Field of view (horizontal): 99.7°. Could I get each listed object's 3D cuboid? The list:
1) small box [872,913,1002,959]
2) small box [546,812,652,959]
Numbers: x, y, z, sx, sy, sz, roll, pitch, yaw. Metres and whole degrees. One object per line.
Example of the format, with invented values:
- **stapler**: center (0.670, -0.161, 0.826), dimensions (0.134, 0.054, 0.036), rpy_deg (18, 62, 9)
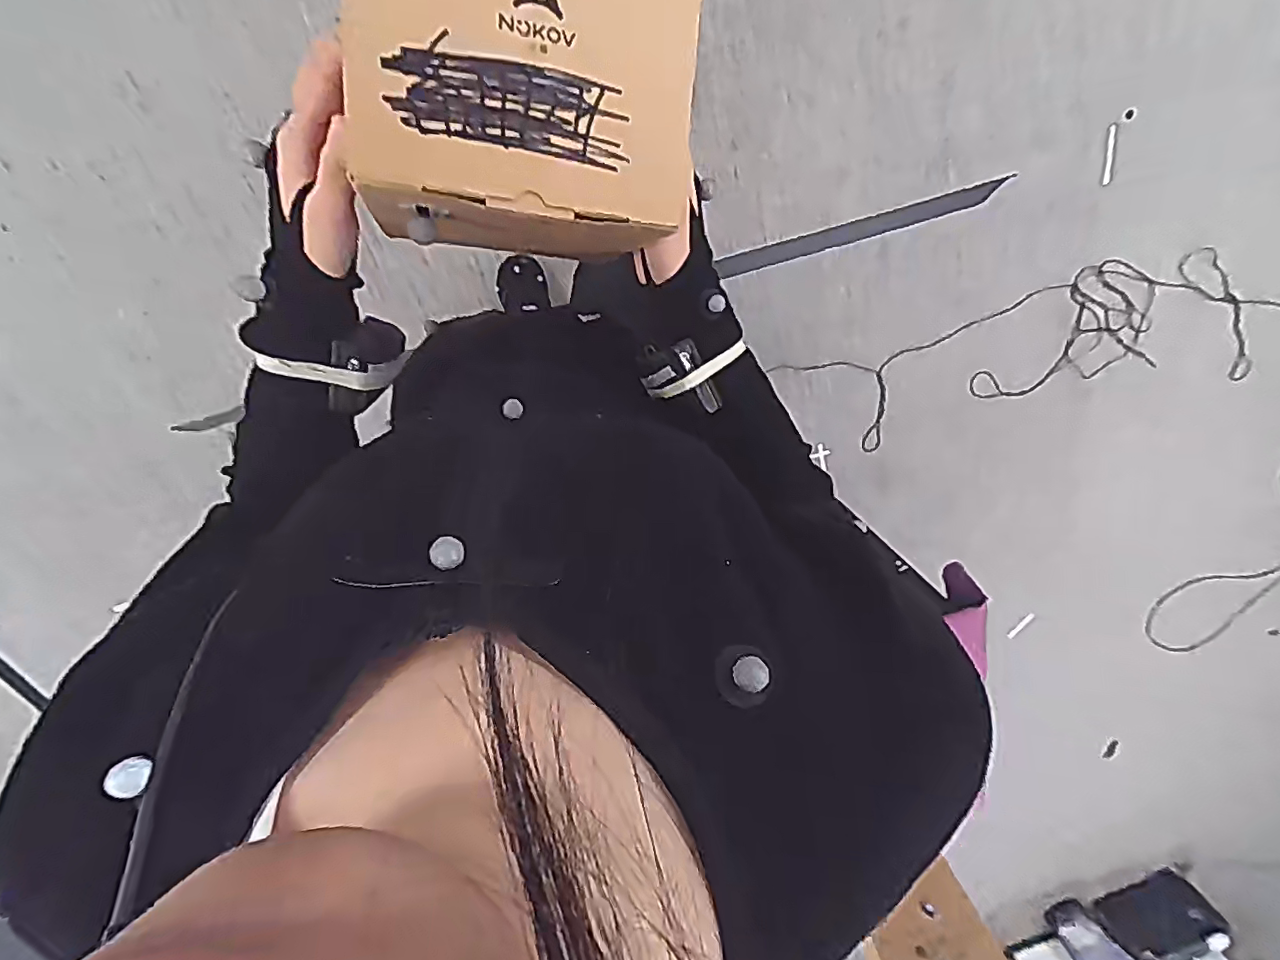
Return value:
- **small box**: center (0.447, 0.760, 0.758), dimensions (0.168, 0.176, 0.179), rpy_deg (-17, 116, -3)
- **small box**: center (-0.081, 0.782, 1.037), dimensions (0.168, 0.176, 0.179), rpy_deg (-13, 116, -5)
